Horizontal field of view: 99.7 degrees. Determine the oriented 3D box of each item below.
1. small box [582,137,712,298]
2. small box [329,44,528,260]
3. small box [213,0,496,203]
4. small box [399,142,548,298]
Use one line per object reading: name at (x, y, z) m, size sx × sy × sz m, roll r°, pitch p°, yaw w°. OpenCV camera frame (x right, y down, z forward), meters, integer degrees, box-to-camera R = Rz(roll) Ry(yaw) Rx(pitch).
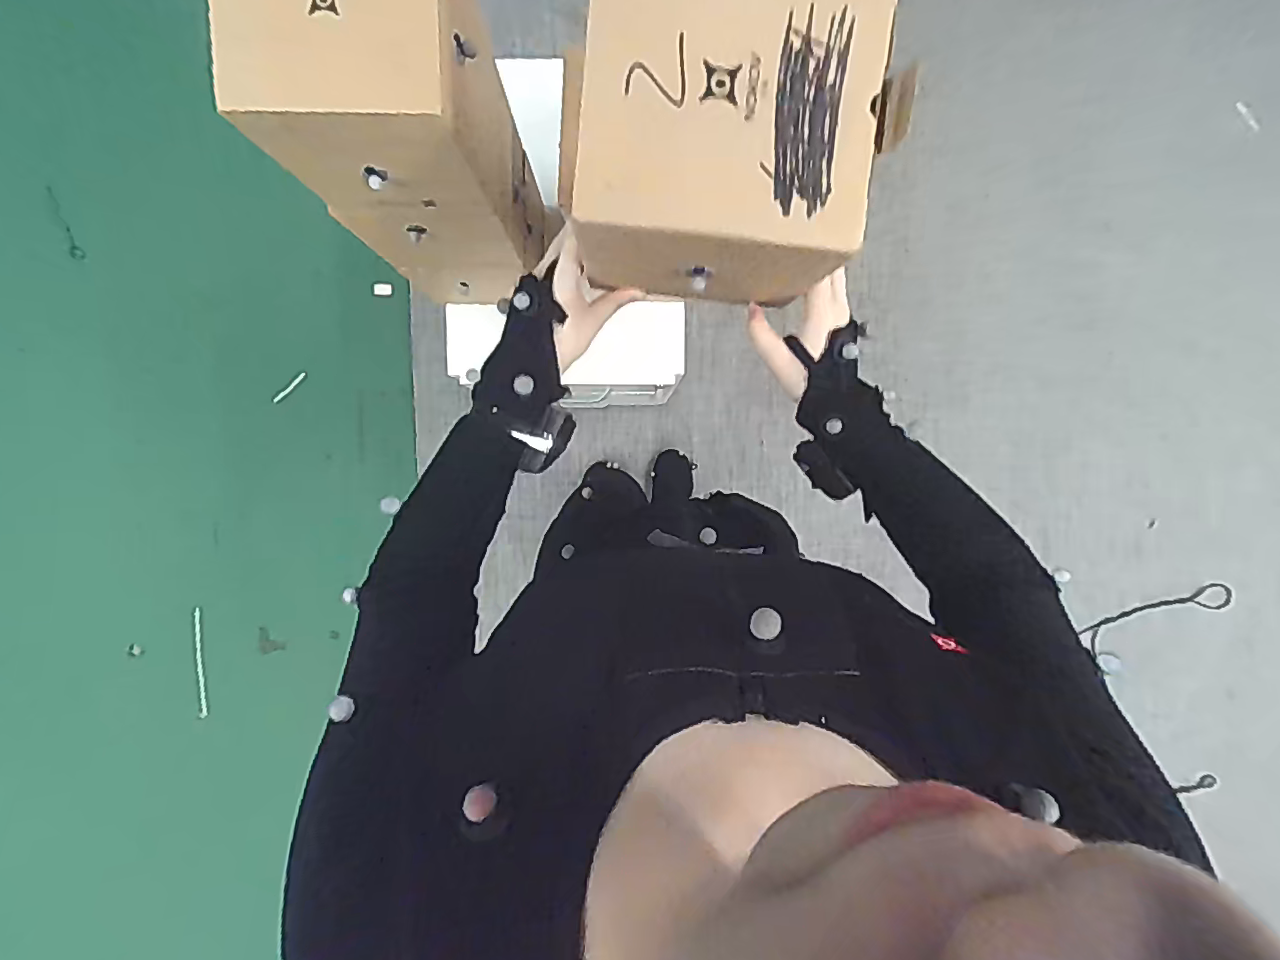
small box at (0.010, -0.376, 0.801) m, size 0.179 × 0.176 × 0.168 m, roll 0°, pitch 92°, yaw 2°
small box at (-0.234, -0.367, 0.632) m, size 0.179 × 0.176 × 0.168 m, roll 0°, pitch 94°, yaw -2°
small box at (-0.225, -0.361, 0.468) m, size 0.168 × 0.176 × 0.179 m, roll 0°, pitch 94°, yaw -3°
small box at (-0.236, -0.373, 0.798) m, size 0.179 × 0.176 × 0.168 m, roll 0°, pitch 94°, yaw -2°
